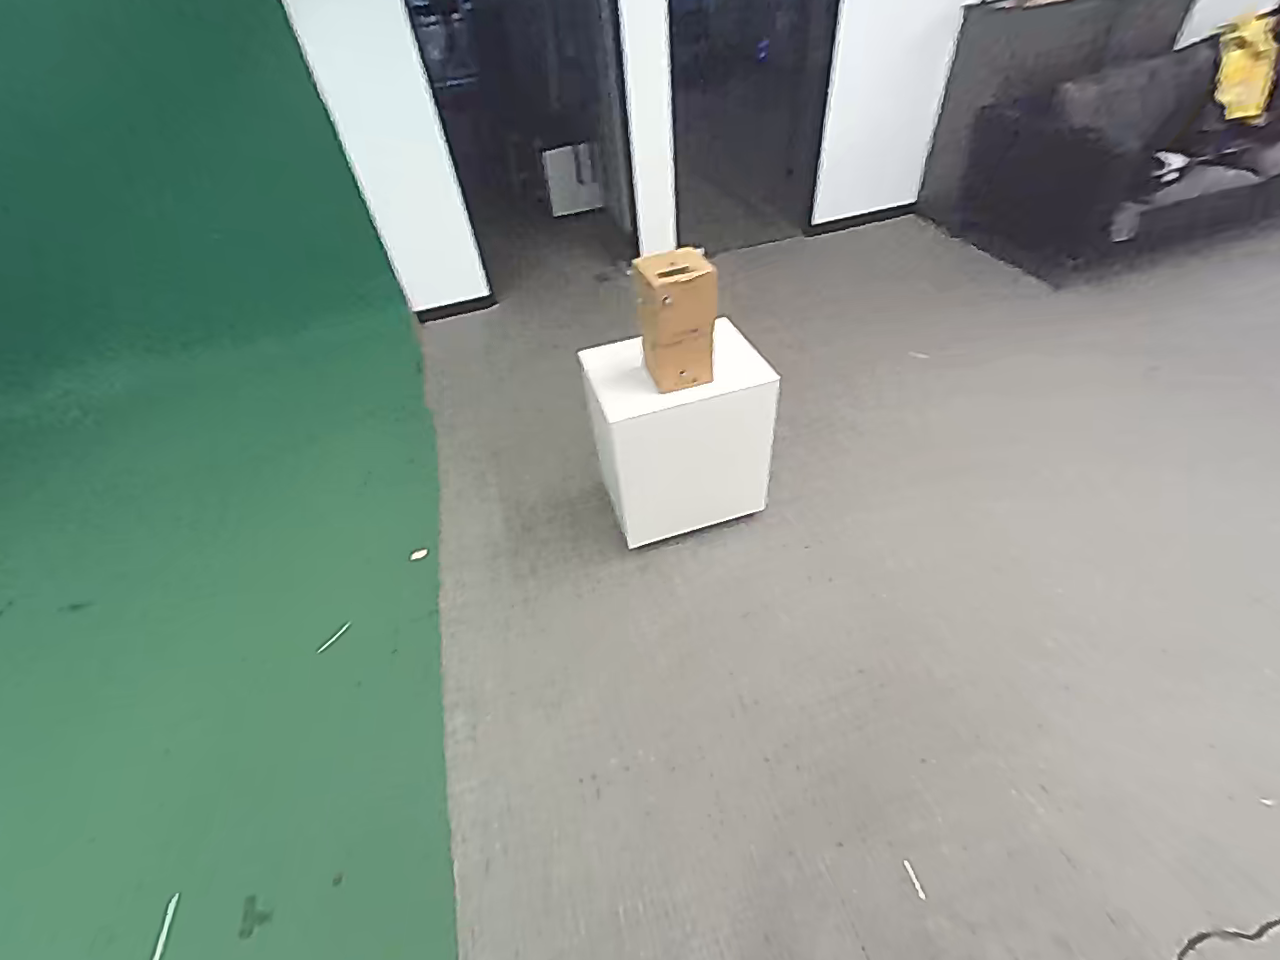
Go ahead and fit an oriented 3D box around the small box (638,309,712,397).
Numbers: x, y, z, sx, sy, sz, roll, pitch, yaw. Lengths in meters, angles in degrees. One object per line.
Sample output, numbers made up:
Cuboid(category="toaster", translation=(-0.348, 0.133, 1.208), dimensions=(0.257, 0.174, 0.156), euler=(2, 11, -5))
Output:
Cuboid(category="small box", translation=(0.099, -0.365, 1.550), dimensions=(0.168, 0.176, 0.179), euler=(-15, 44, -9))
